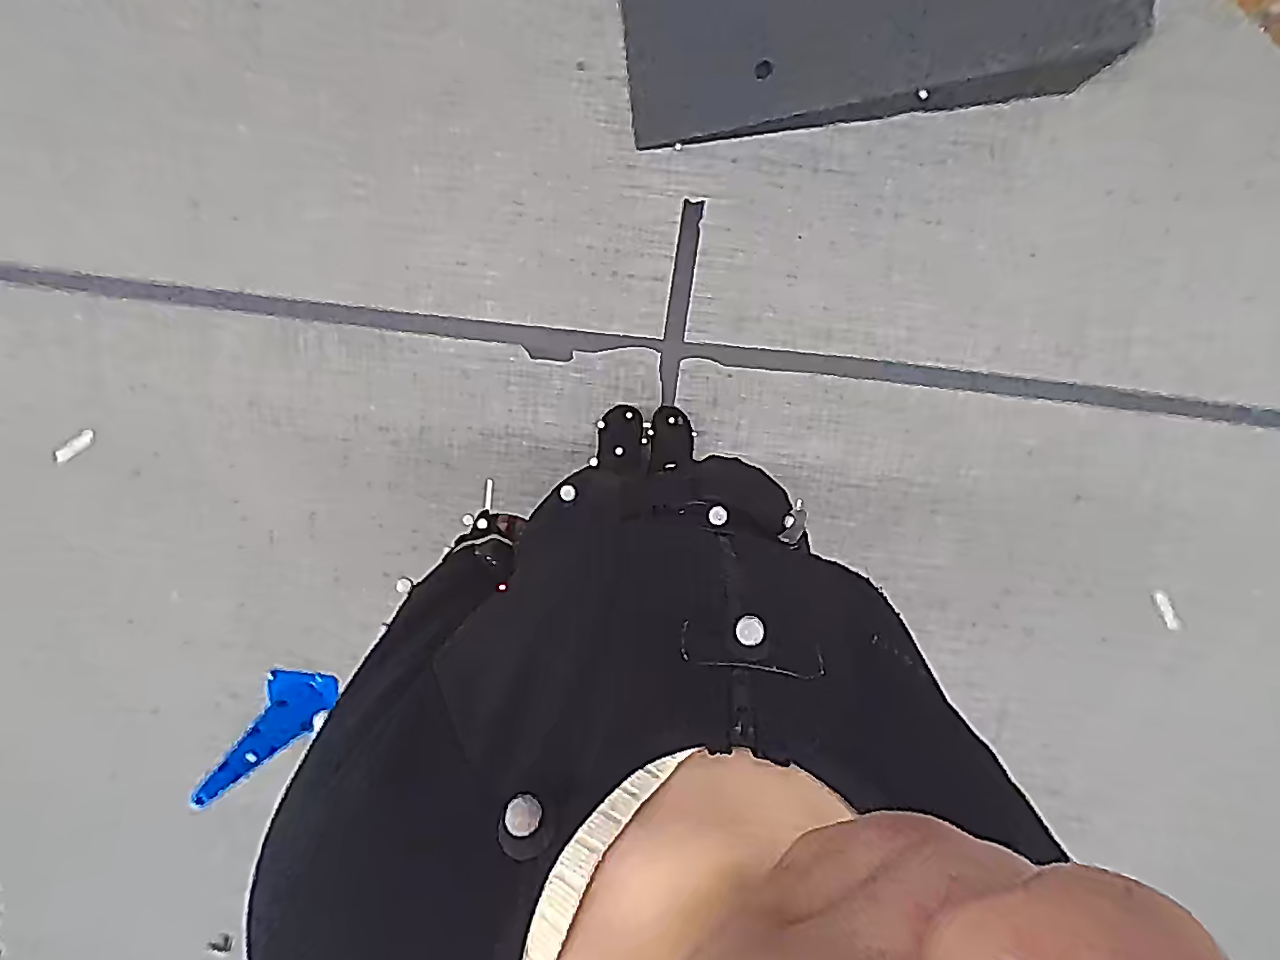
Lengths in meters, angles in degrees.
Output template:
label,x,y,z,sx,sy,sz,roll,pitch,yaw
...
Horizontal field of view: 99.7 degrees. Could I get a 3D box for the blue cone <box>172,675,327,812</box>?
label,x,y,z,sx,sy,sz,roll,pitch,yaw
blue cone,-0.972,0.667,1.344,0.192,0.380,0.193,9,100,1
